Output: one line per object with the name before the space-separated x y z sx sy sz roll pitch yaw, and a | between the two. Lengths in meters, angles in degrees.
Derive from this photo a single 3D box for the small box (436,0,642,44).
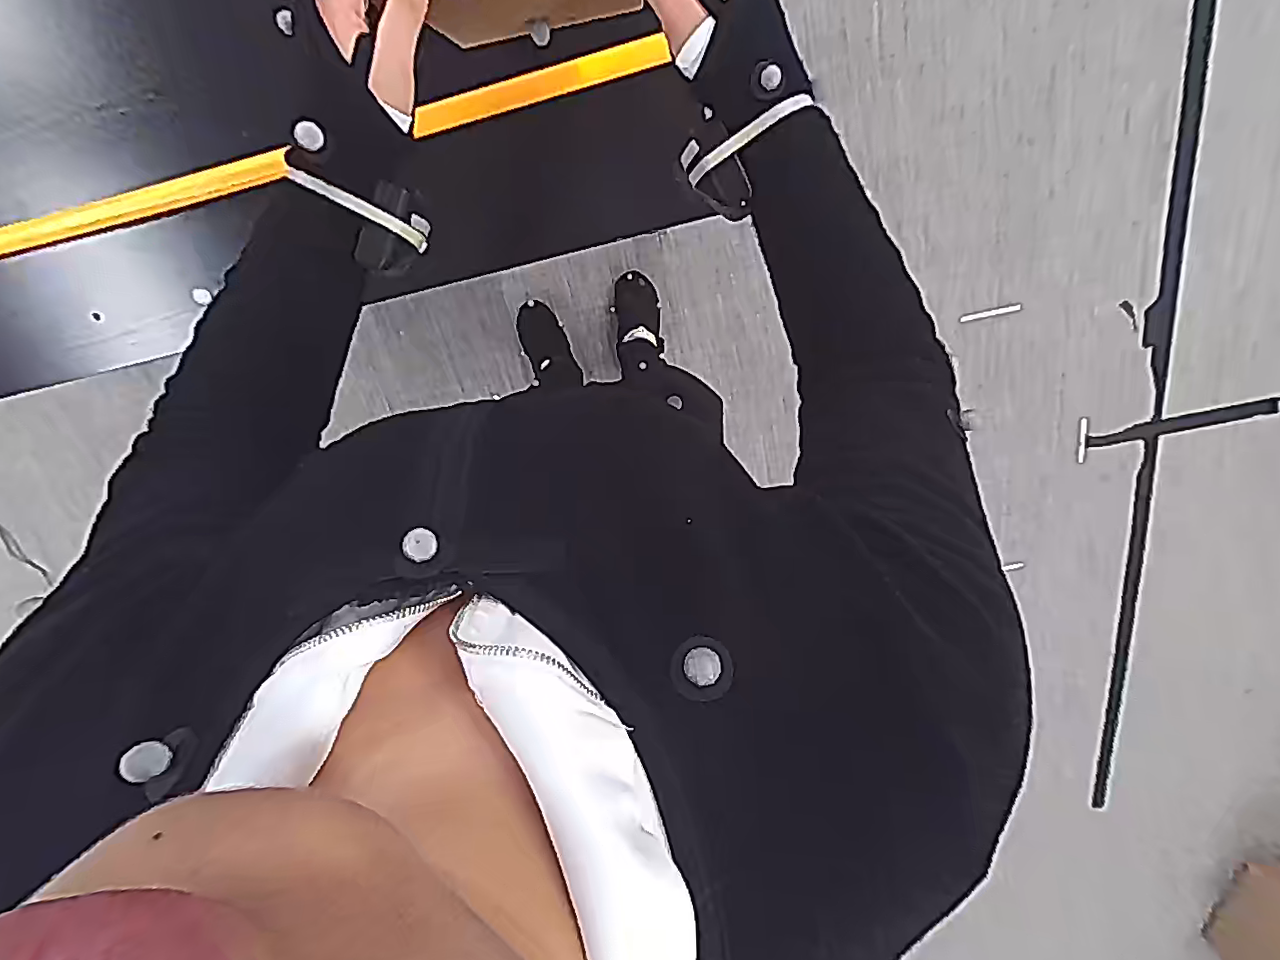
small box | -0.087 -0.438 0.374 0.168 0.176 0.179 -9 121 3
